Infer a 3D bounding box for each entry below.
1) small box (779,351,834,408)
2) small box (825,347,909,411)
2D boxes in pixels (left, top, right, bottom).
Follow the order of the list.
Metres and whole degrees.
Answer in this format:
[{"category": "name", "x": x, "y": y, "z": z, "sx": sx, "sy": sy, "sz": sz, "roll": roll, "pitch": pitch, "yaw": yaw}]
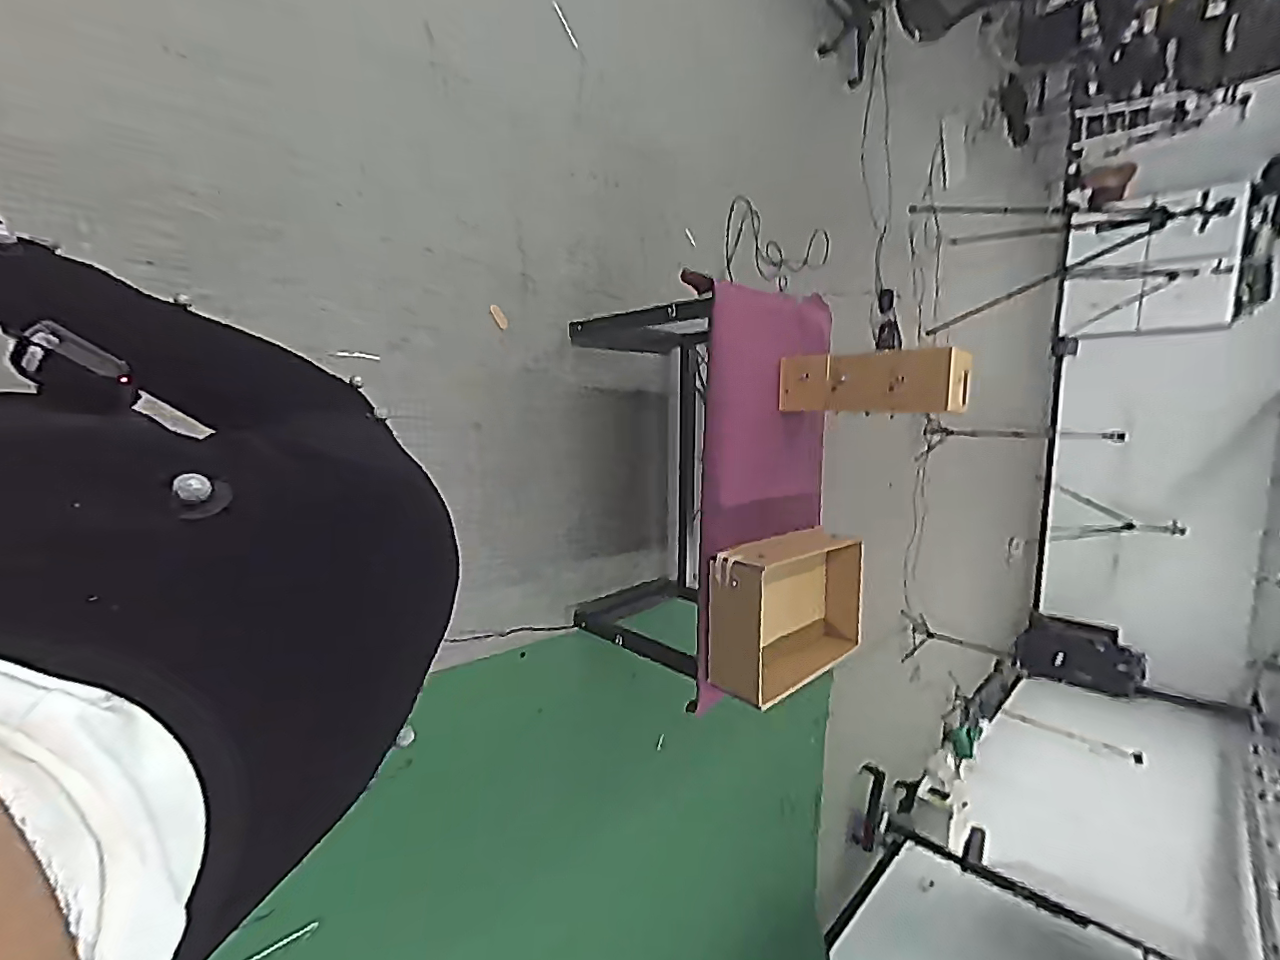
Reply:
[{"category": "small box", "x": 0.556, "y": -0.314, "z": 1.718, "sx": 0.179, "sy": 0.176, "sz": 0.168, "roll": -9, "pitch": 100, "yaw": -44}, {"category": "small box", "x": 0.673, "y": -0.295, "z": 1.603, "sx": 0.179, "sy": 0.176, "sz": 0.168, "roll": -2, "pitch": 96, "yaw": -44}]
